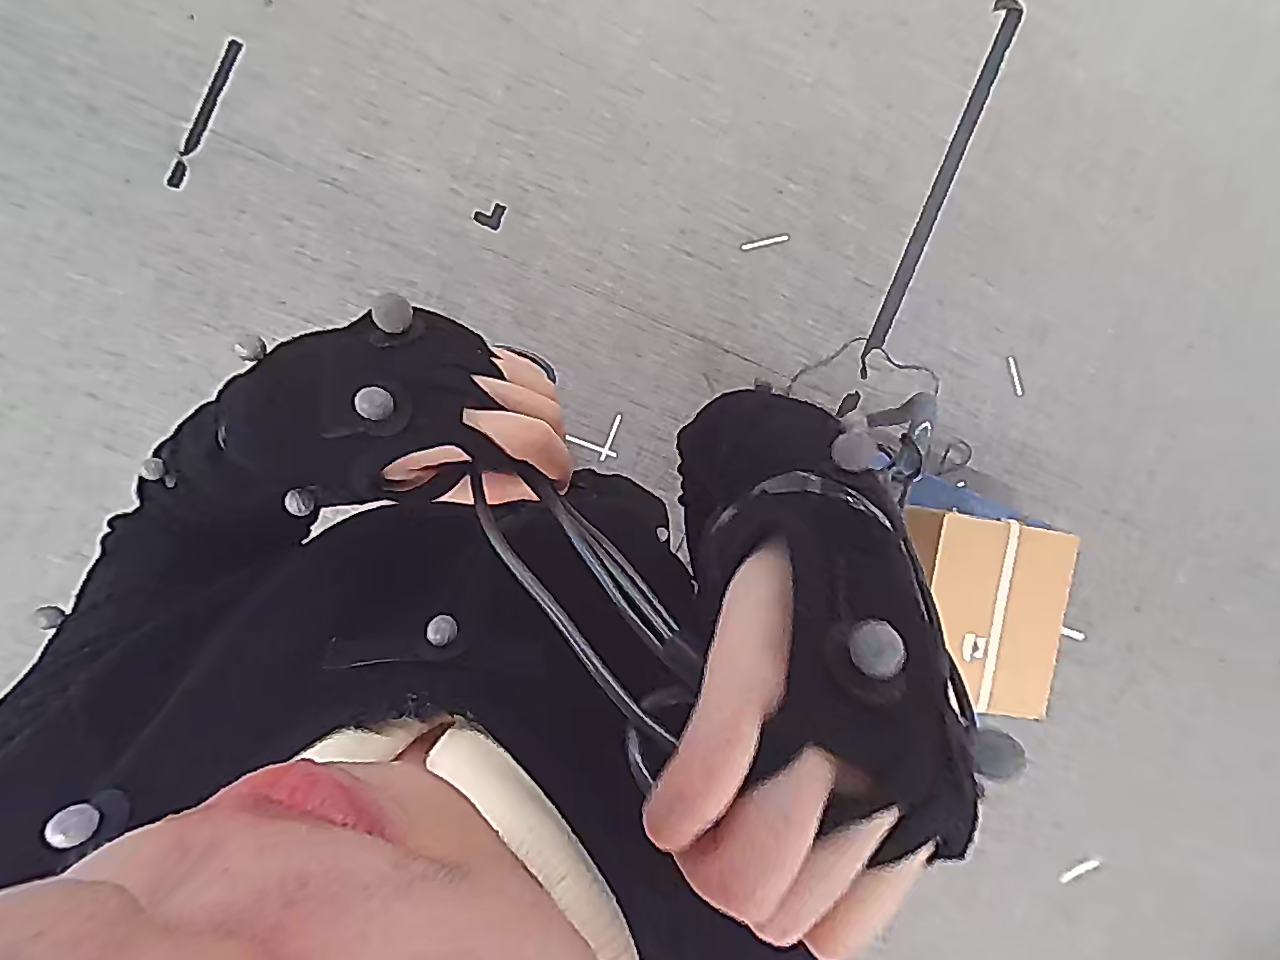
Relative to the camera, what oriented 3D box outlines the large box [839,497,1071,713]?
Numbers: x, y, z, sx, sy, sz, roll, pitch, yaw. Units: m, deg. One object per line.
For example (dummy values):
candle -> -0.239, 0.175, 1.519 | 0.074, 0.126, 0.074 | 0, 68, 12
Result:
large box -> 0.713, 0.269, 1.275 | 0.320, 0.320, 0.408 | 10, 93, -6
